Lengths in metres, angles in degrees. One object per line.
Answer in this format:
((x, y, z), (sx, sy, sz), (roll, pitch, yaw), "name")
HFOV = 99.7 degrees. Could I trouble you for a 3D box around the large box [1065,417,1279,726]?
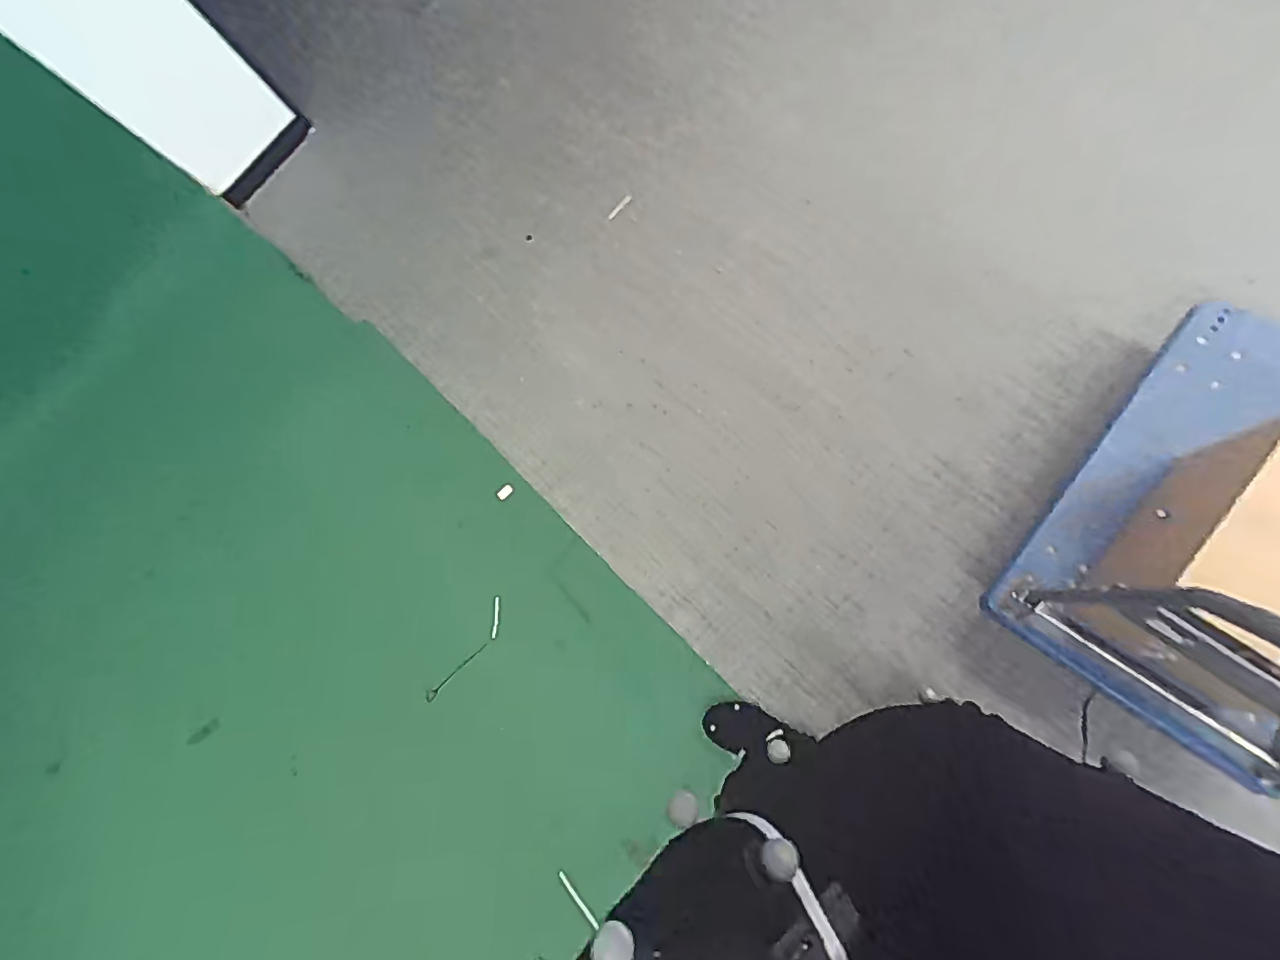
((1.085, 0.175, 0.962), (0.320, 0.320, 0.408), (38, 86, 20), "large box")
